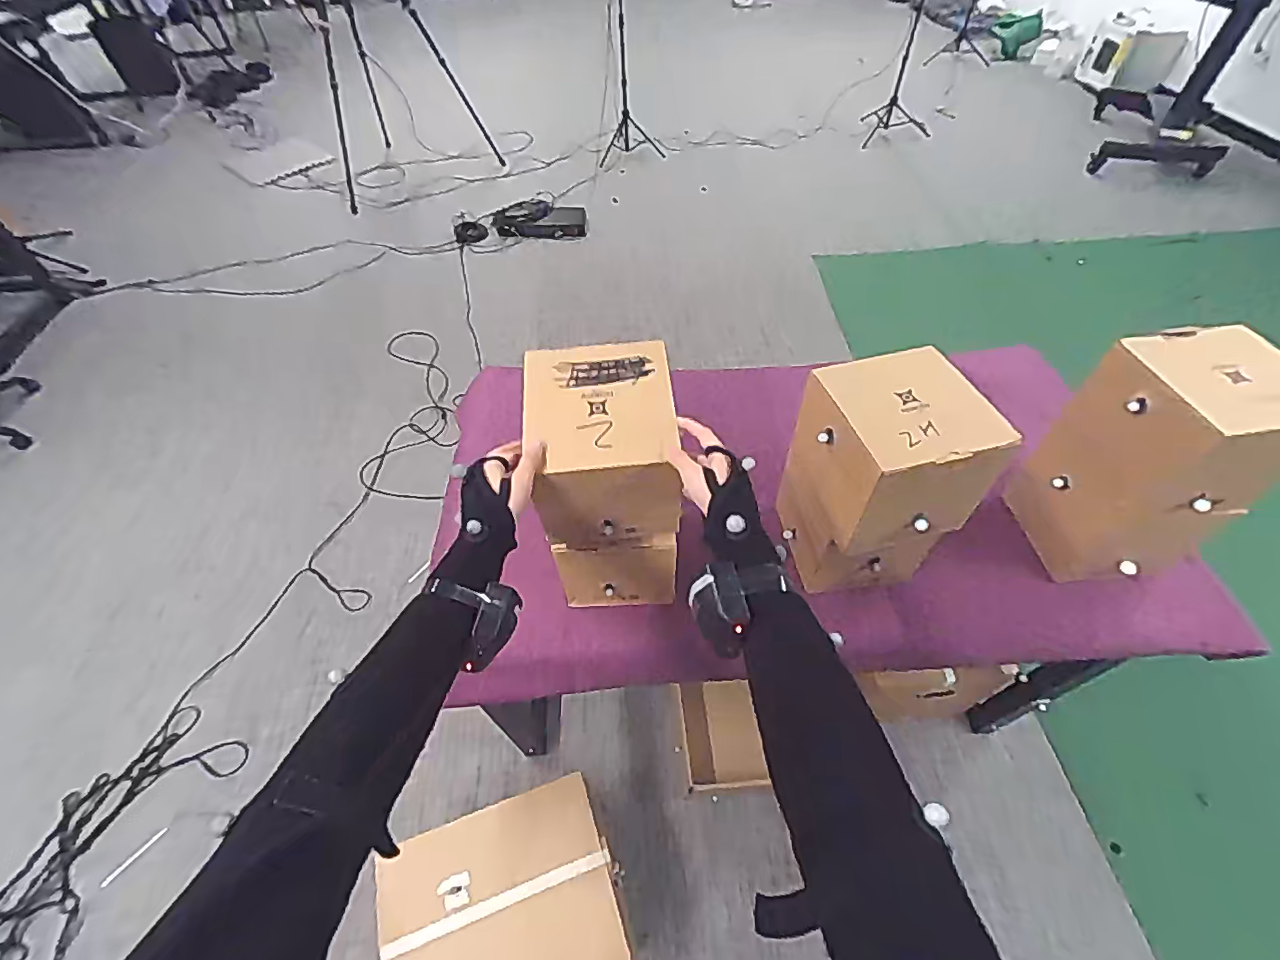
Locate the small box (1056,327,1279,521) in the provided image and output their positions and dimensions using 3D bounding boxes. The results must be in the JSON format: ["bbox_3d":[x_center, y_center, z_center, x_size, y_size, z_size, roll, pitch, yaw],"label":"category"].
[{"bbox_3d":[0.693,-0.070,0.692,0.168,0.176,0.179,-6,50,-1],"label":"small box"}]

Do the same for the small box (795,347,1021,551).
[{"bbox_3d":[0.312,-0.037,0.681,0.168,0.176,0.179,-12,51,-6],"label":"small box"}]

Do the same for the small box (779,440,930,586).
[{"bbox_3d":[0.323,0.049,0.824,0.168,0.176,0.179,-7,51,-3],"label":"small box"}]

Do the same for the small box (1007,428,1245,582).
[{"bbox_3d":[0.705,0.035,0.816,0.168,0.176,0.179,-4,51,0],"label":"small box"}]

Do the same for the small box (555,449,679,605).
[{"bbox_3d":[-0.031,0.072,0.823,0.168,0.176,0.179,-2,52,0],"label":"small box"}]
